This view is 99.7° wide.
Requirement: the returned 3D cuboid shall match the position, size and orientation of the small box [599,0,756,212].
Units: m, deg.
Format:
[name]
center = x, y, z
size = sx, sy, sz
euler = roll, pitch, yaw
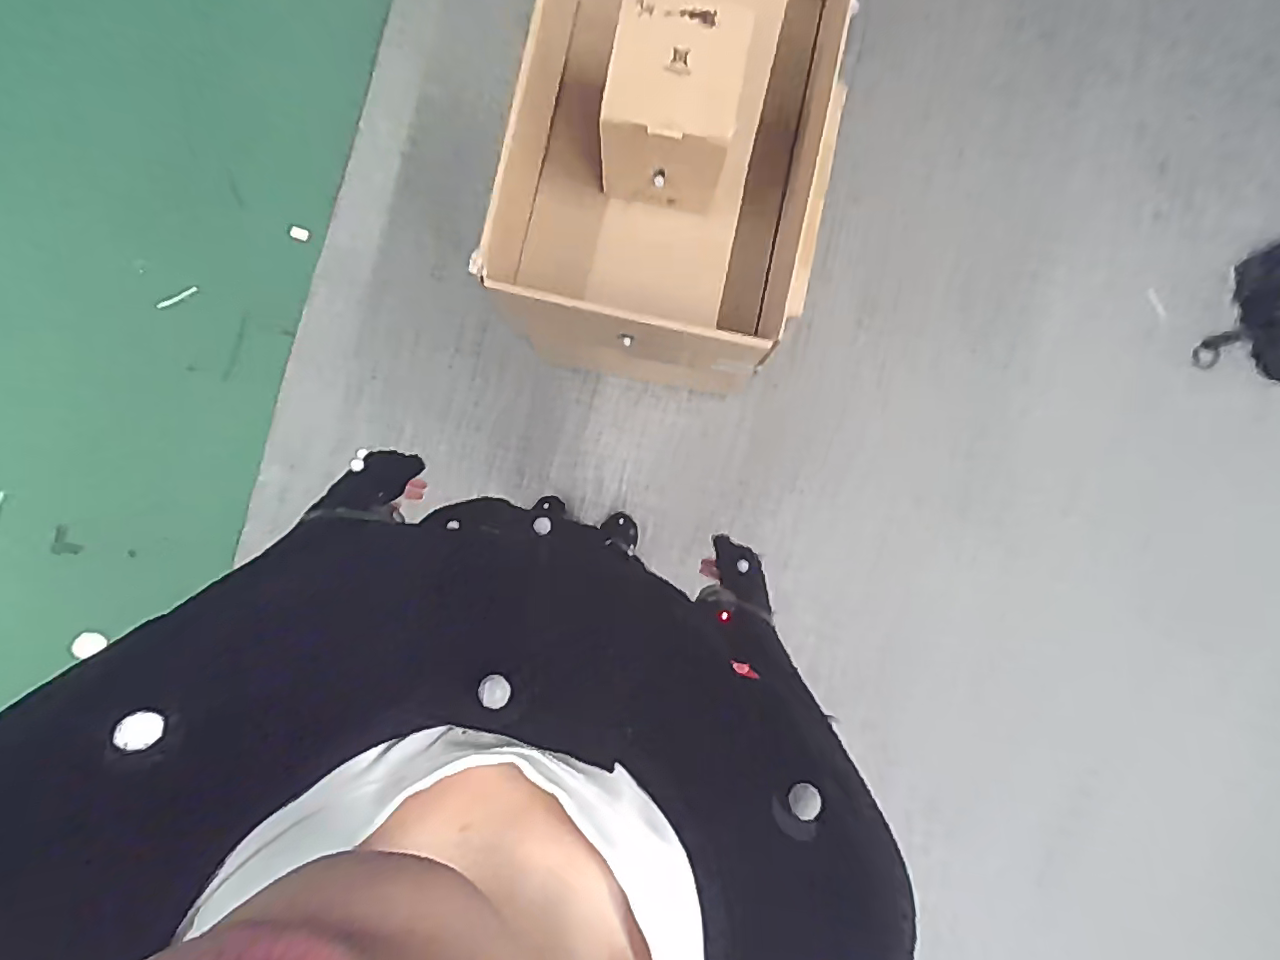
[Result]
[small box]
center = 0.046, -0.502, 0.741
size = 0.168, 0.176, 0.179
euler = 12, 87, -1
